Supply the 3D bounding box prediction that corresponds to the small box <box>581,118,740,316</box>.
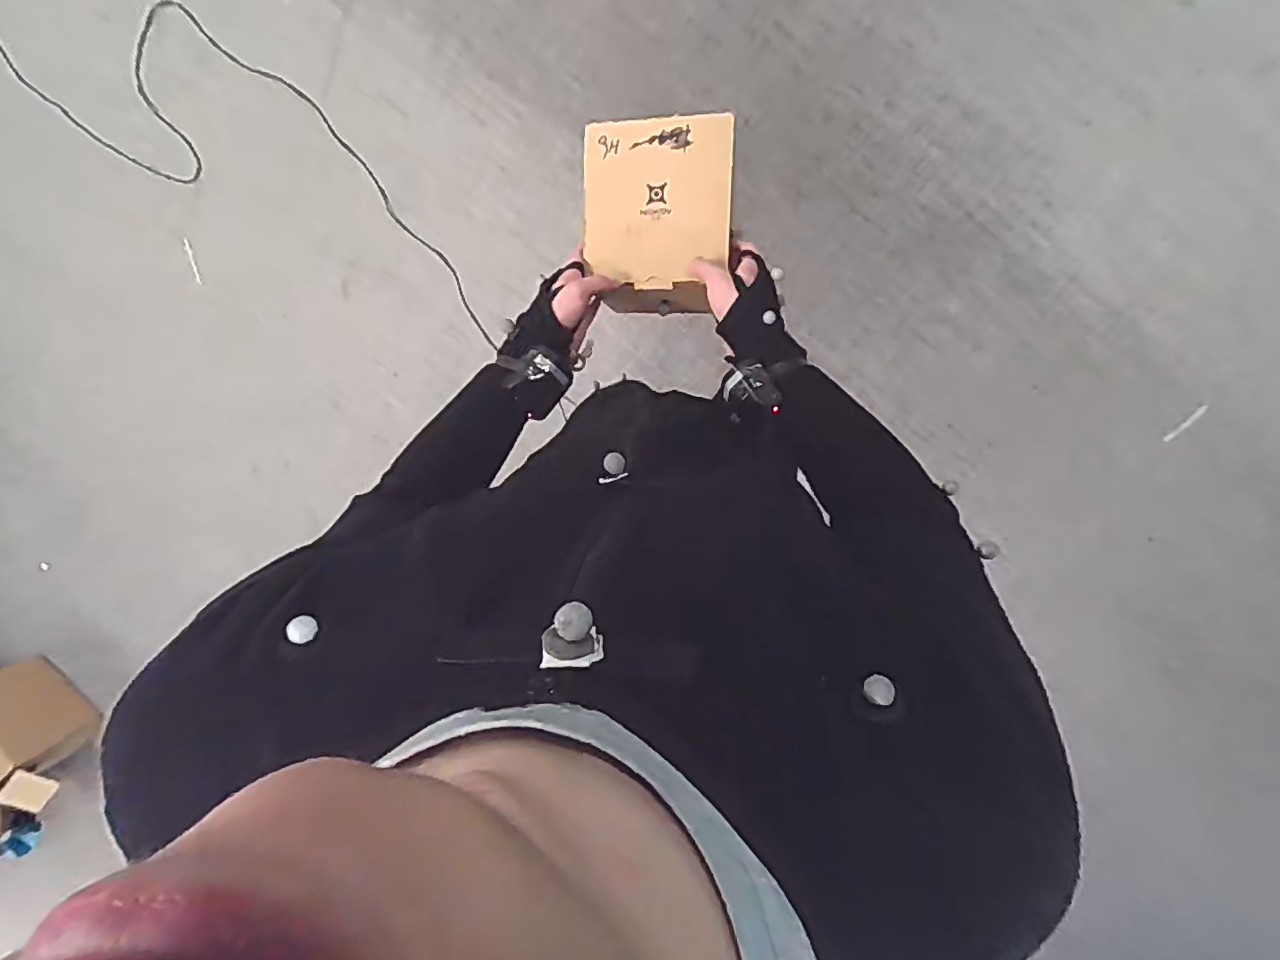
[{"bbox_3d":[0.032,-0.299,0.656,0.168,0.176,0.179,3,97,10],"label":"small box"}]
